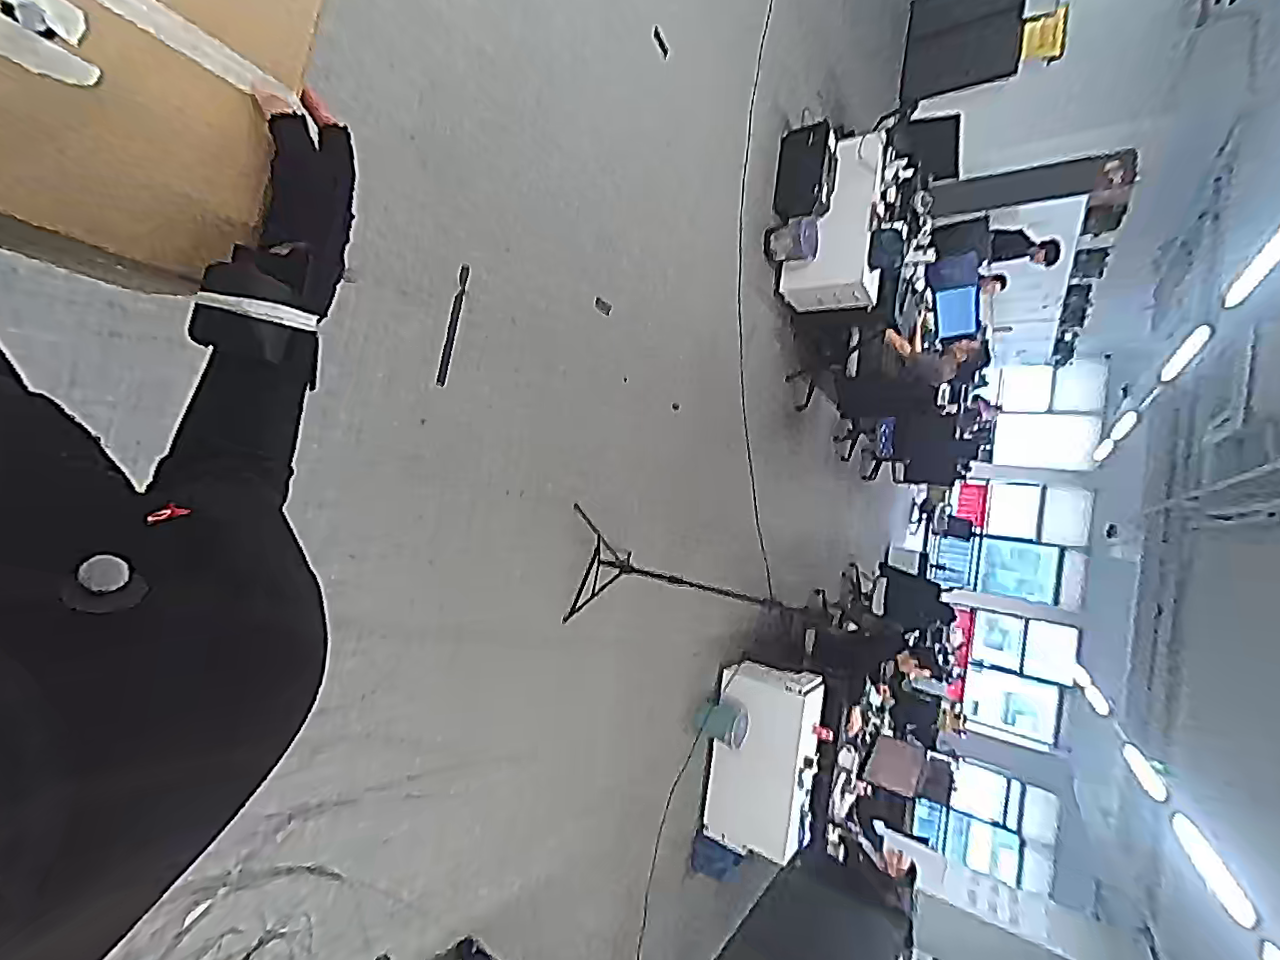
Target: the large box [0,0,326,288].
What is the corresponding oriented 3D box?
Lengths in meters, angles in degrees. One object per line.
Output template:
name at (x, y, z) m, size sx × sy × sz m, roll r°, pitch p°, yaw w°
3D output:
large box at (-0.512, -0.361, 0.369) m, size 0.408 × 0.320 × 0.320 m, roll 15°, pitch 91°, yaw -55°
